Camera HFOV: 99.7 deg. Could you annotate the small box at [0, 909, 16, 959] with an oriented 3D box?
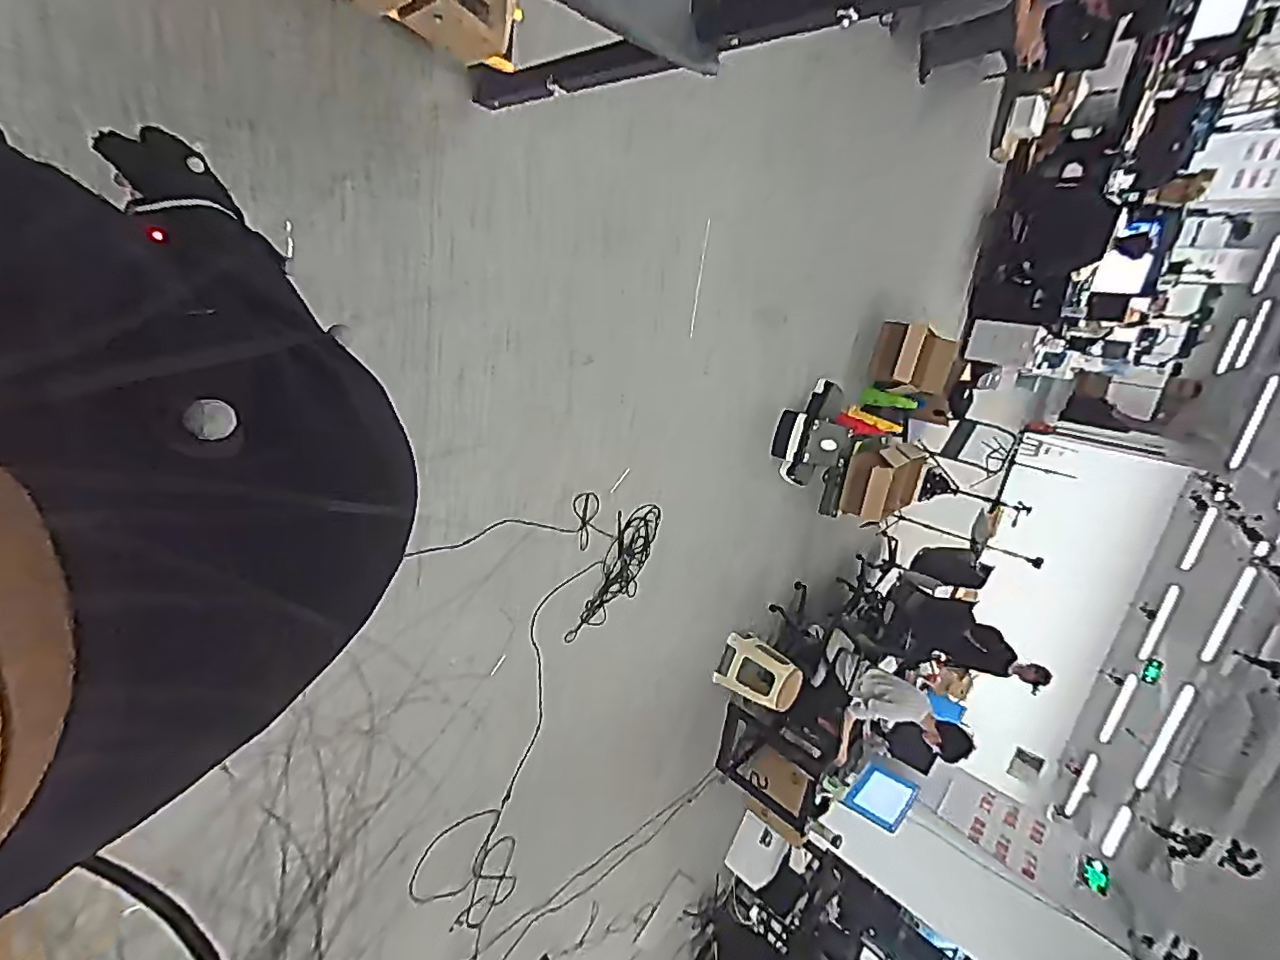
[{"bbox_3d":[-1.448,1.059,1.134,0.168,0.176,0.179,-11,116,-46],"label":"small box"}]
